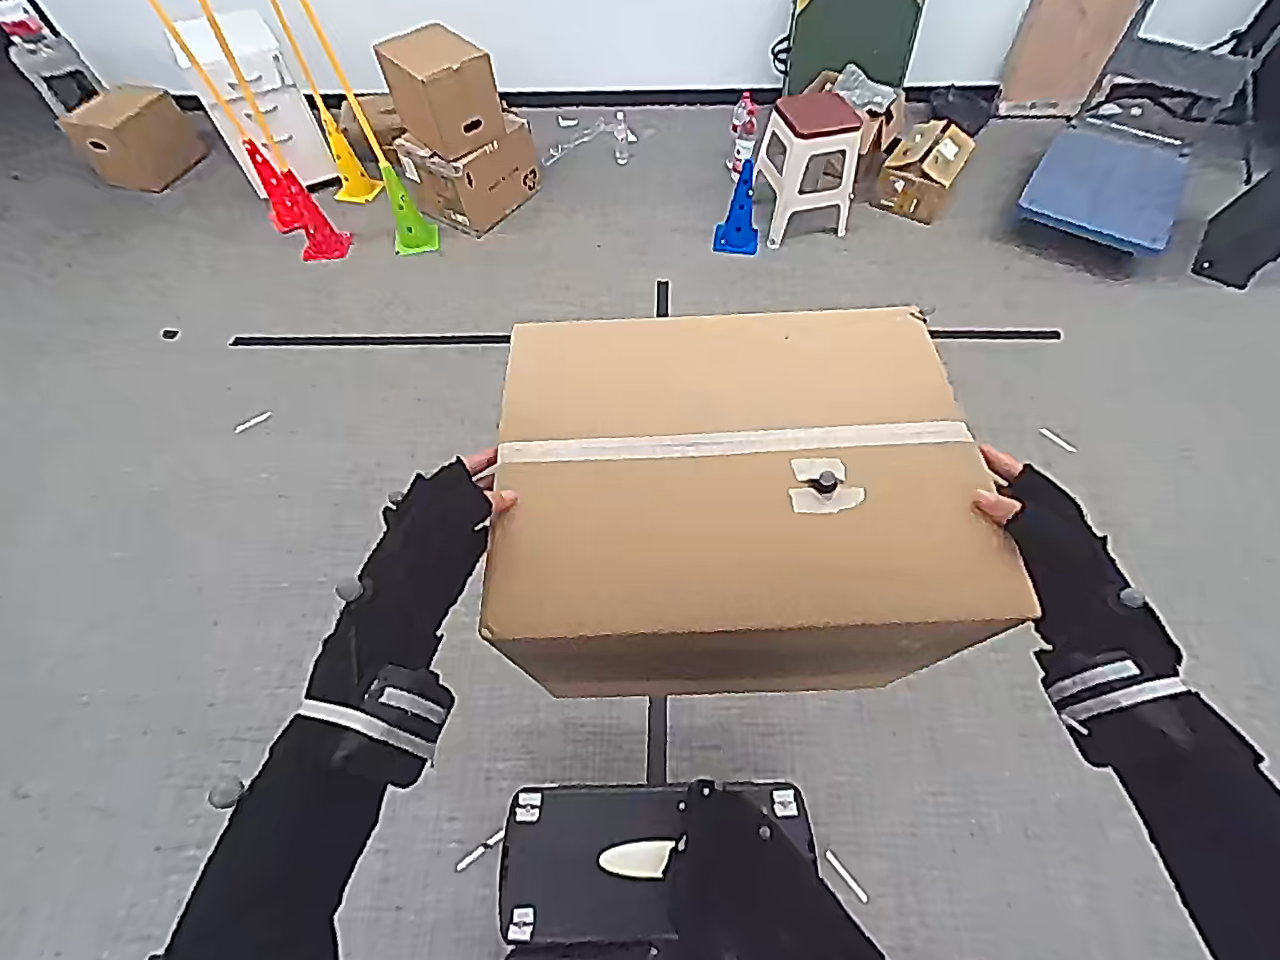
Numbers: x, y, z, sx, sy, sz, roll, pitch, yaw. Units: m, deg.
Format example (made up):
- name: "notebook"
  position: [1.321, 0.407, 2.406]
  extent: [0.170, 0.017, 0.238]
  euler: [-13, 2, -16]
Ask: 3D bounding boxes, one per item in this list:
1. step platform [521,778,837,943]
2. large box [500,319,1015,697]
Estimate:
- name: "step platform"
  position: [0.079, 0.844, 1.220]
  extent: [0.684, 0.204, 0.286]
  euler: [-1, 58, -1]
- name: "large box"
  position: [0.085, 0.050, 0.611]
  extent: [0.408, 0.320, 0.320]
  euler: [-2, 61, 0]
